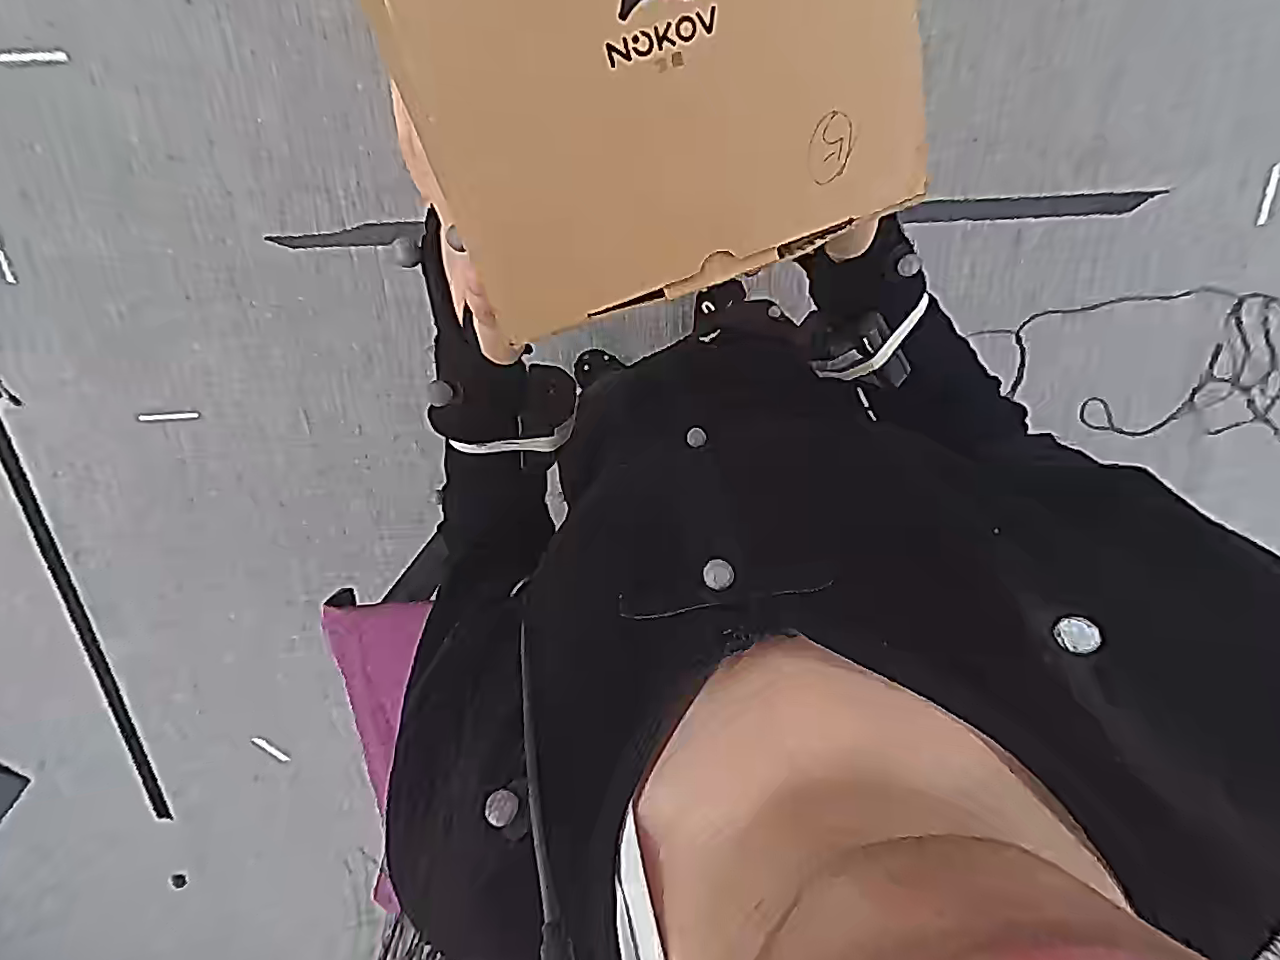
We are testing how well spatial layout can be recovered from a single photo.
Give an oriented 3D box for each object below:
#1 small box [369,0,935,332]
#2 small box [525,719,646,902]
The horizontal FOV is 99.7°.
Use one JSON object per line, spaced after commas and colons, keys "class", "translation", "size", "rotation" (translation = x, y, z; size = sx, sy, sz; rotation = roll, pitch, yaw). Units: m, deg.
{"class": "small box", "translation": [-0.008, -0.185, 0.231], "size": [0.168, 0.176, 0.179], "rotation": [-21, 114, -1]}
{"class": "small box", "translation": [-0.080, 0.495, 0.822], "size": [0.168, 0.176, 0.179], "rotation": [1, 107, -4]}
